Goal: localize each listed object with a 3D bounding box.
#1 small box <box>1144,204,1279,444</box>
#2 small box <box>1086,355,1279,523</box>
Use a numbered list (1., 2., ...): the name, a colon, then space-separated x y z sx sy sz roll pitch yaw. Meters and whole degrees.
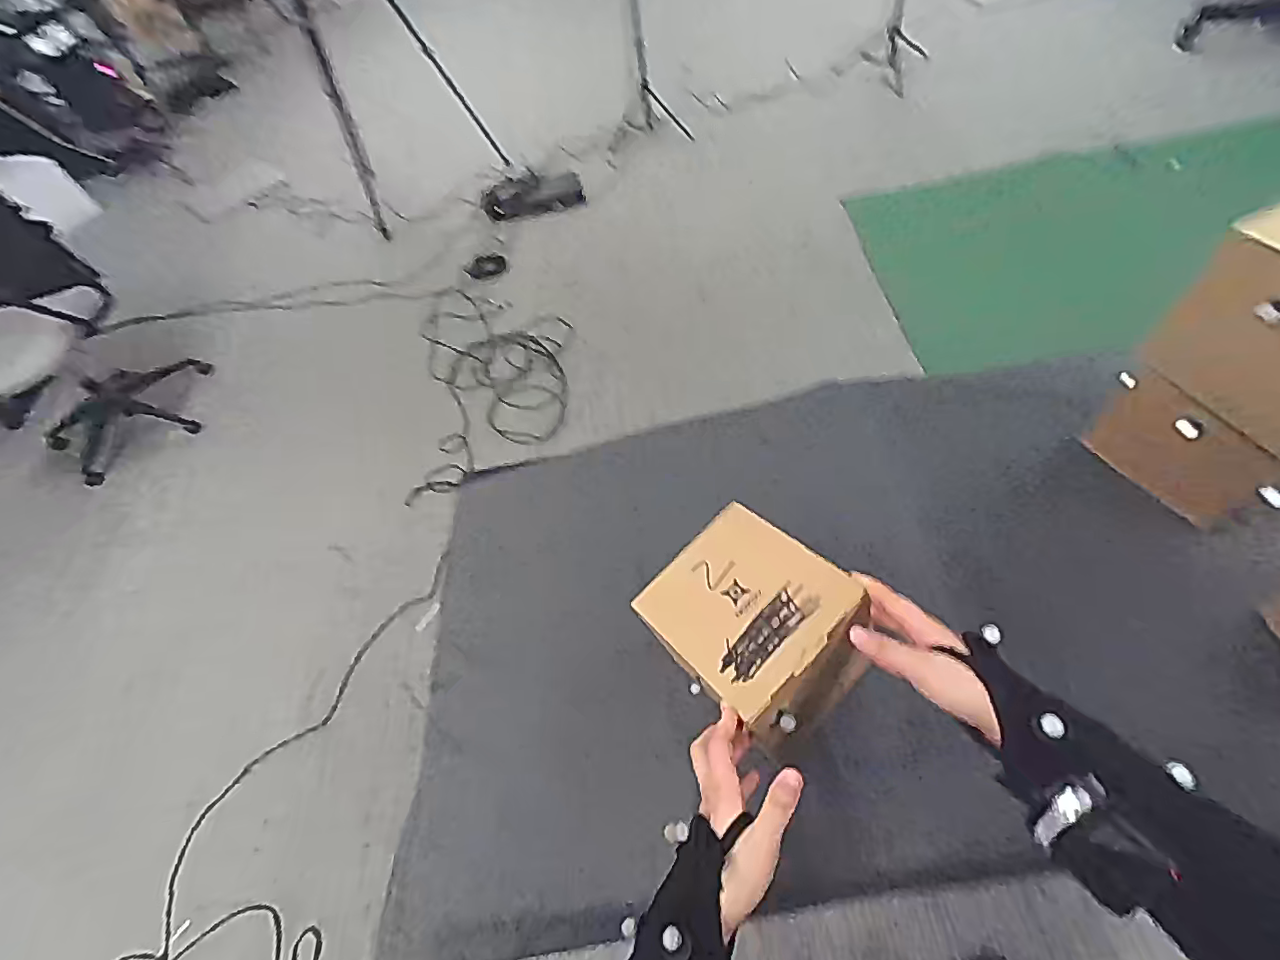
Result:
1. small box: 0.670 -0.163 0.527 0.168 0.176 0.179 -24 57 -2
2. small box: 0.716 -0.079 0.663 0.168 0.176 0.179 -30 58 -6
